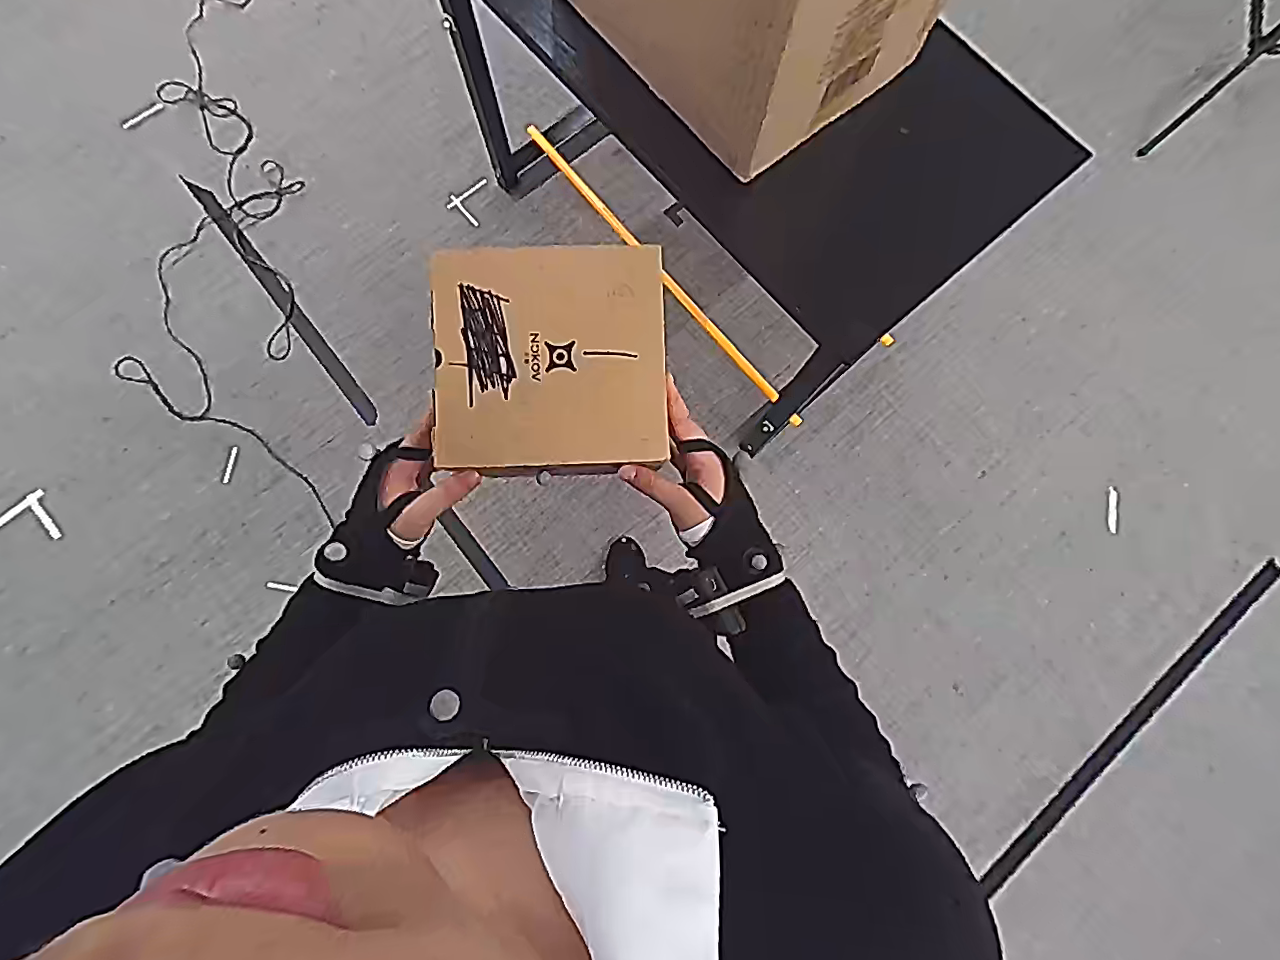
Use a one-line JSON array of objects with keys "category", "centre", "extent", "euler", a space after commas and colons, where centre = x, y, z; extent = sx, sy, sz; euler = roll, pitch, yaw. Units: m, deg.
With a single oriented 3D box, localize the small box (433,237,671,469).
[{"category": "small box", "centre": [-0.068, -0.096, 0.480], "extent": [0.179, 0.176, 0.168], "euler": [-1, 89, -4]}]
